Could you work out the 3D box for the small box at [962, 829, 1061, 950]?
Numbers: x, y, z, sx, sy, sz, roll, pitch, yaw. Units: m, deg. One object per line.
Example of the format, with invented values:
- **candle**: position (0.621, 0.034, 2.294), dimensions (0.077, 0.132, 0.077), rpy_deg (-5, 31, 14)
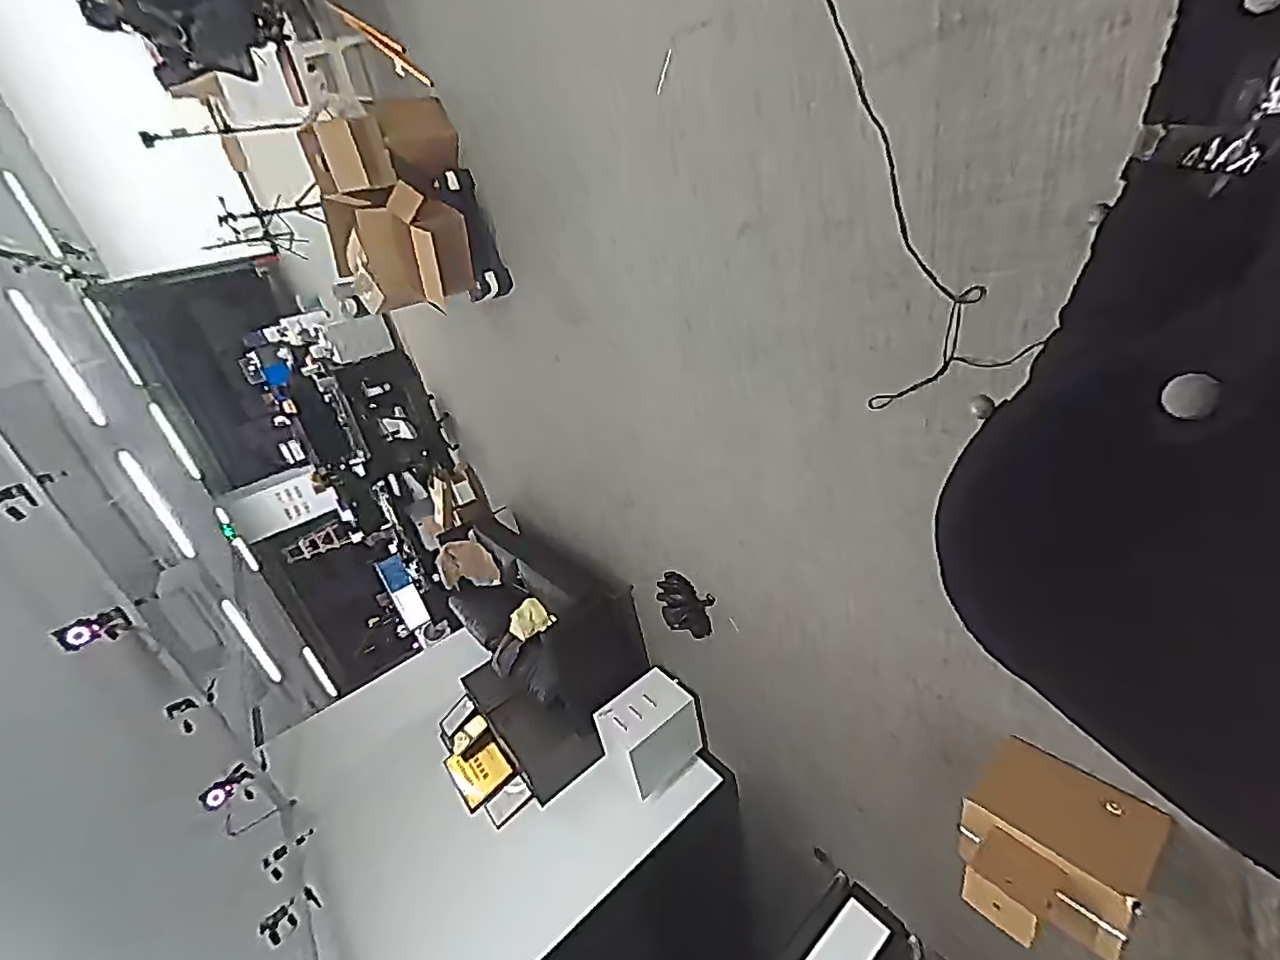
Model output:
- **small box**: position (1.042, 1.139, 1.518), dimensions (0.179, 0.176, 0.168), rpy_deg (23, 131, 50)
